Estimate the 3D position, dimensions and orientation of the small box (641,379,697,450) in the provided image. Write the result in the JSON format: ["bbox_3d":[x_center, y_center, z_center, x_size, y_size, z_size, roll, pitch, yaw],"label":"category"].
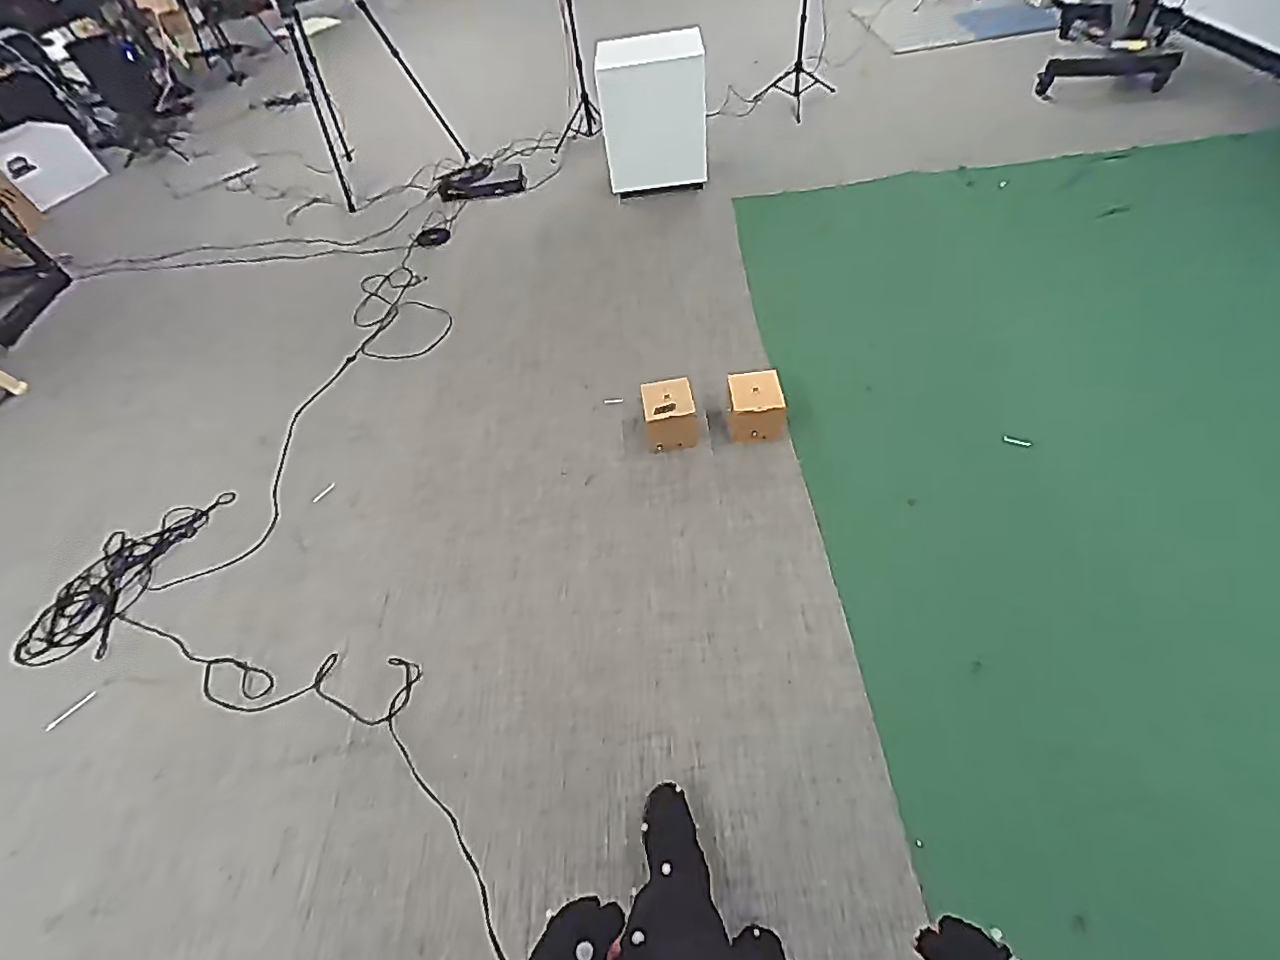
[{"bbox_3d":[0.102,-0.220,1.875,0.168,0.176,0.179,-9,52,1],"label":"small box"}]

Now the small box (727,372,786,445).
[{"bbox_3d":[0.393,-0.243,1.855,0.168,0.176,0.179,-6,53,4],"label":"small box"}]
